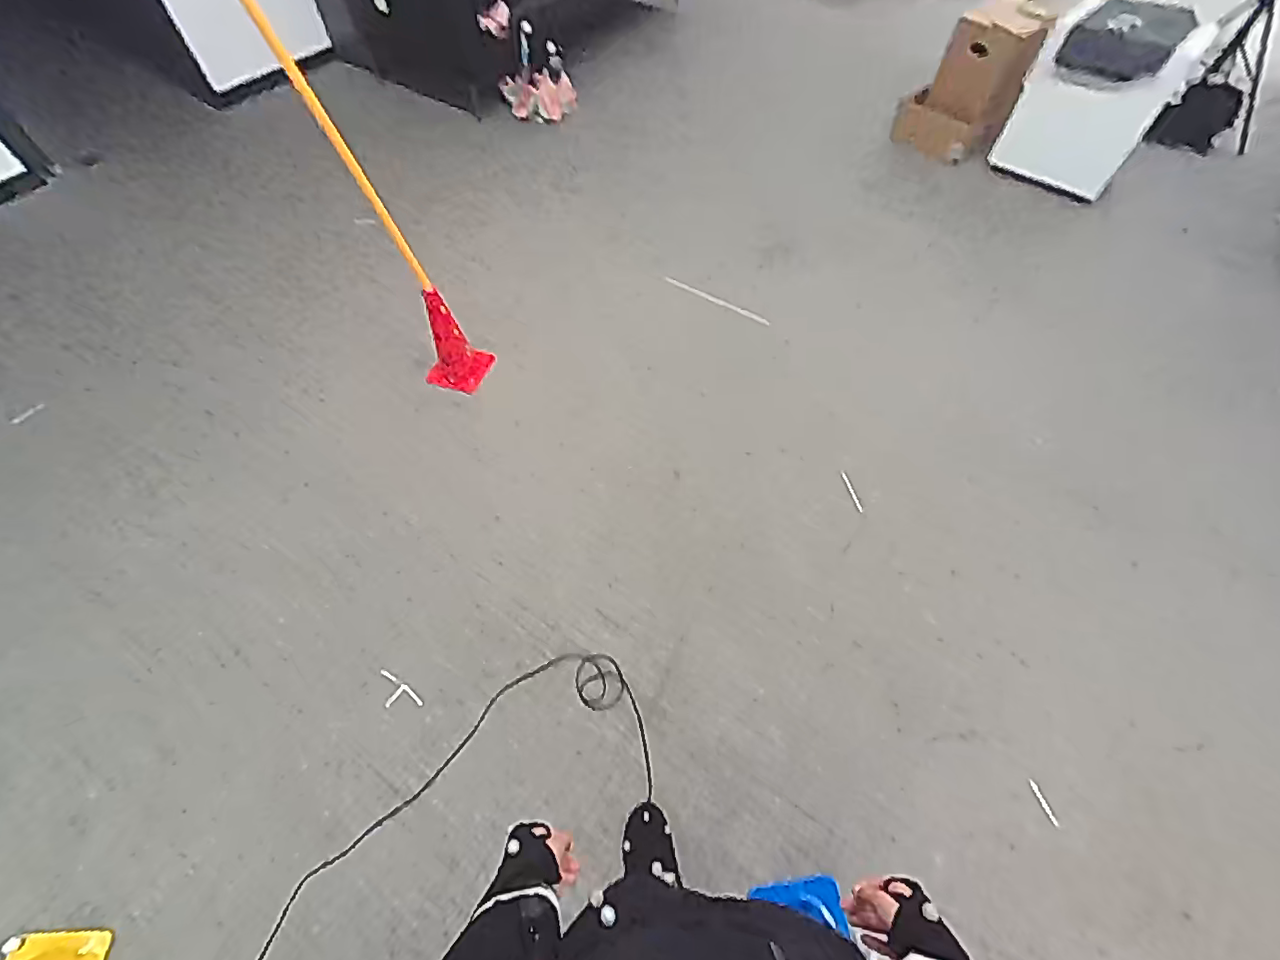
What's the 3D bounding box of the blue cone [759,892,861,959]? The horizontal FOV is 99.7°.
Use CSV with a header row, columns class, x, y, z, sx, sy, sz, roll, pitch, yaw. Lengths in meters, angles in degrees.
class,x,y,z,sx,sy,sz,roll,pitch,yaw
blue cone,0.348,0.864,0.949,0.193,0.380,0.192,-7,57,-6
